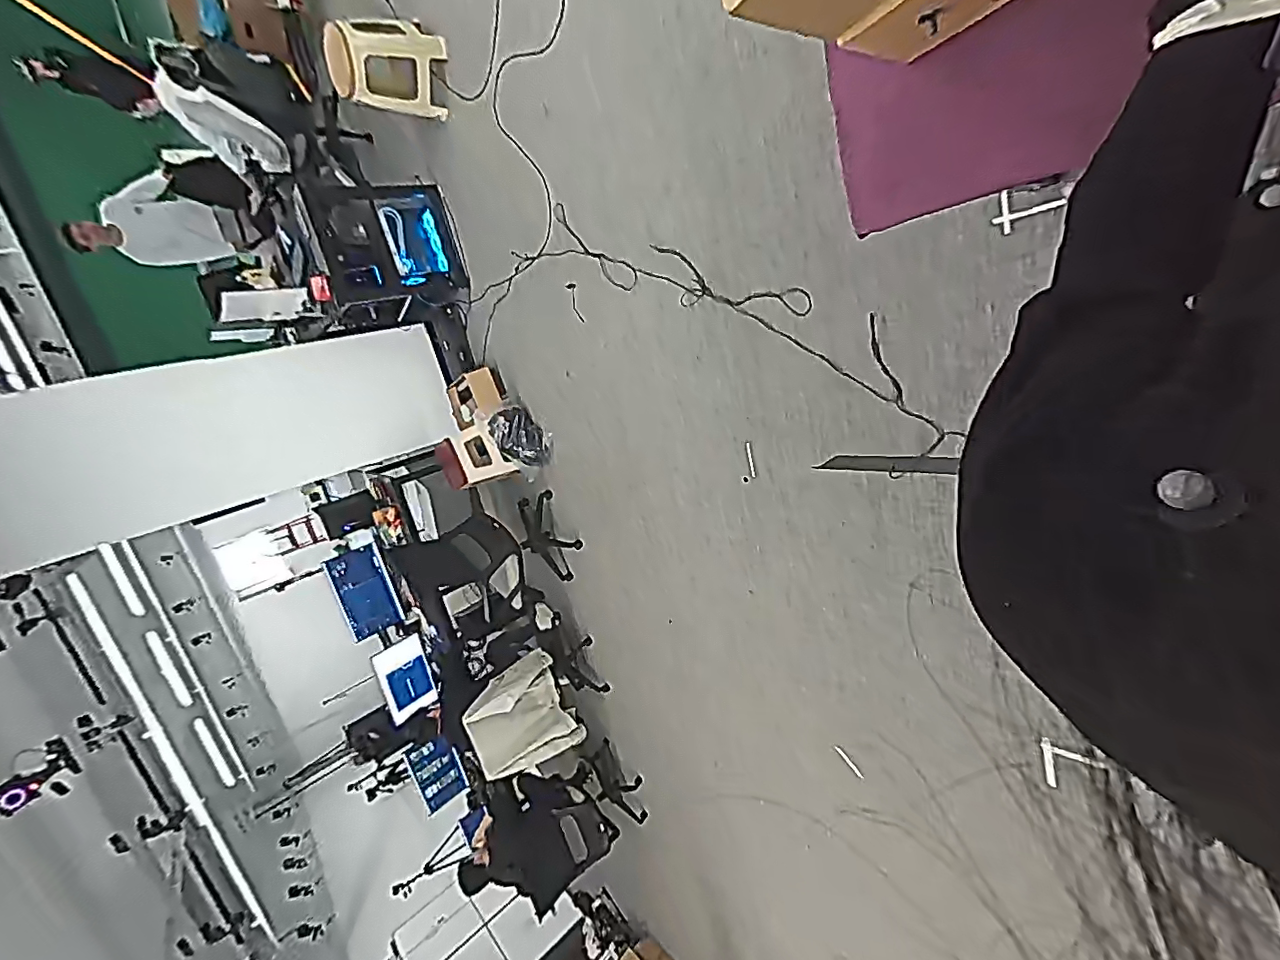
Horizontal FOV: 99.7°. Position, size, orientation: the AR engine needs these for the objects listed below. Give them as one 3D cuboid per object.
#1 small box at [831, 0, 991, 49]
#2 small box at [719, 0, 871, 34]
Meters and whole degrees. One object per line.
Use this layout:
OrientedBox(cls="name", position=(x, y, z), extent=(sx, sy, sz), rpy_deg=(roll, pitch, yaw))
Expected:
OrientedBox(cls="small box", position=(0.286, -0.558, 0.522), extent=(0.168, 0.176, 0.179), rpy_deg=(-1, 109, 52))
OrientedBox(cls="small box", position=(0.159, -0.508, 0.431), extent=(0.179, 0.176, 0.168), rpy_deg=(-4, 106, 52))
